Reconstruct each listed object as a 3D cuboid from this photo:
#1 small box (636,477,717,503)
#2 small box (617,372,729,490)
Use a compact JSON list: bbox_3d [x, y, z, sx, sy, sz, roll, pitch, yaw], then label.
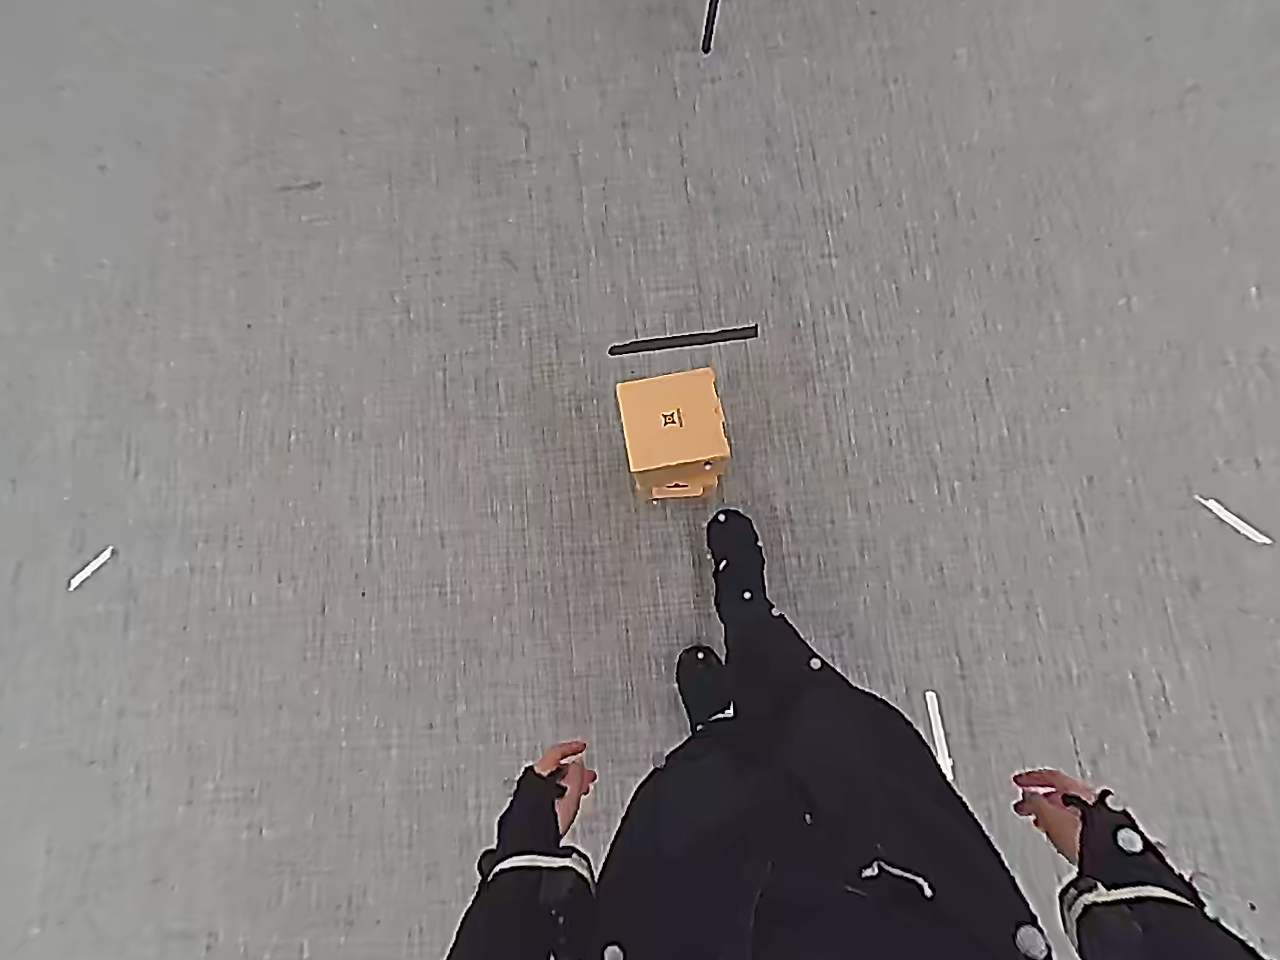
[{"bbox_3d":[0.078,-0.046,1.179,0.168,0.176,0.179,-4,79,3],"label":"small box"},{"bbox_3d":[0.062,-0.084,1.022,0.179,0.176,0.168,-11,79,2],"label":"small box"}]
